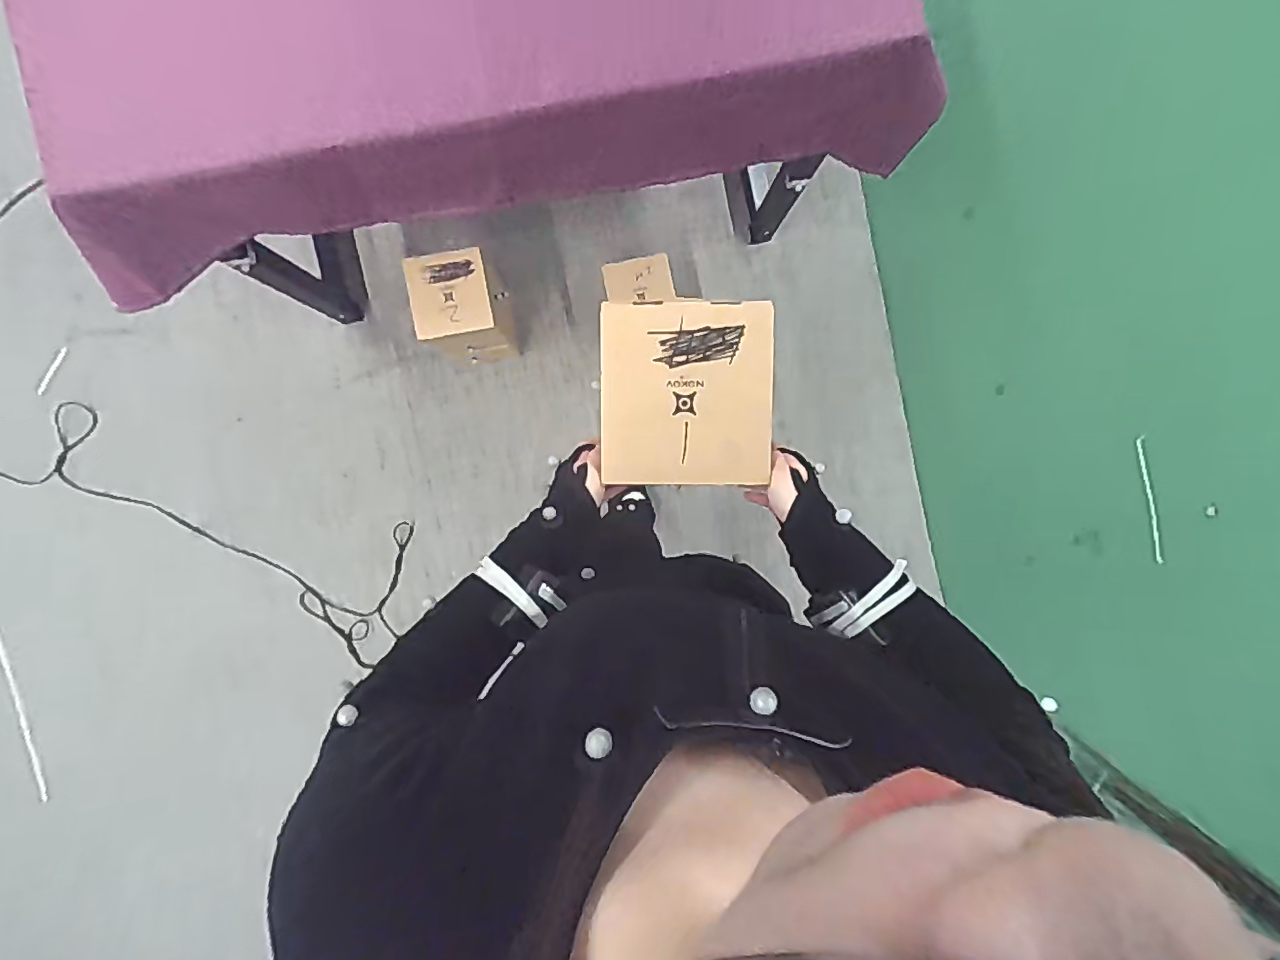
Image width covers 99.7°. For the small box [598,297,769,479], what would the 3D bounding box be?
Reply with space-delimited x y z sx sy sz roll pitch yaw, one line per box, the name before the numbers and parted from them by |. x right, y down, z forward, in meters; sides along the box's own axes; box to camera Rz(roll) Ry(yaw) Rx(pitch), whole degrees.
small box | 0.043 -0.096 0.607 0.168 0.176 0.179 1 96 2
